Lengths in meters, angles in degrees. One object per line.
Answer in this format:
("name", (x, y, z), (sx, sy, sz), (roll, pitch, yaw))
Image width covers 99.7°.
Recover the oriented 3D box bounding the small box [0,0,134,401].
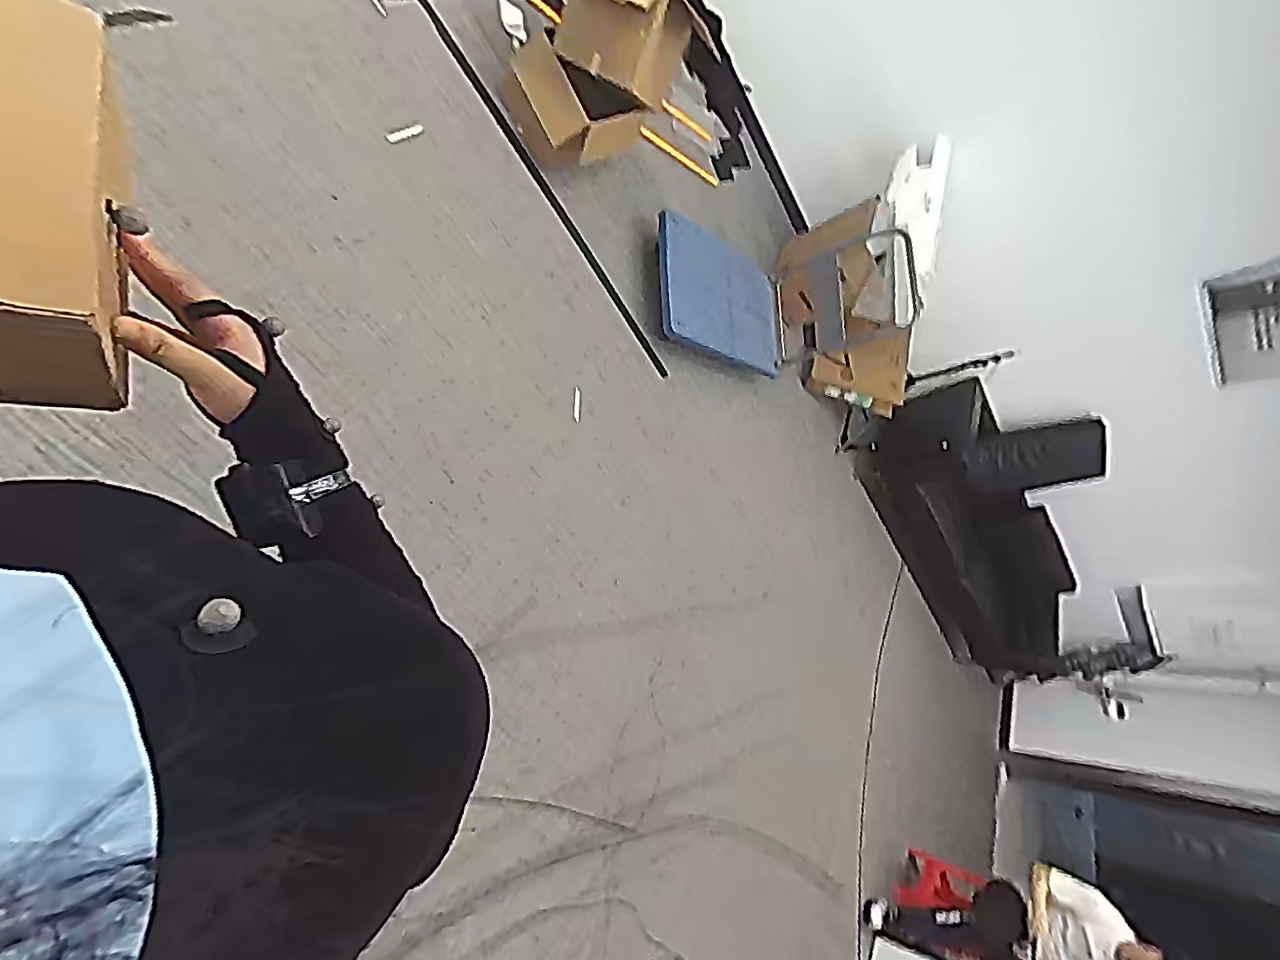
("small box", (-0.388, -0.155, 0.286), (0.168, 0.176, 0.179), (-1, 81, -40))
